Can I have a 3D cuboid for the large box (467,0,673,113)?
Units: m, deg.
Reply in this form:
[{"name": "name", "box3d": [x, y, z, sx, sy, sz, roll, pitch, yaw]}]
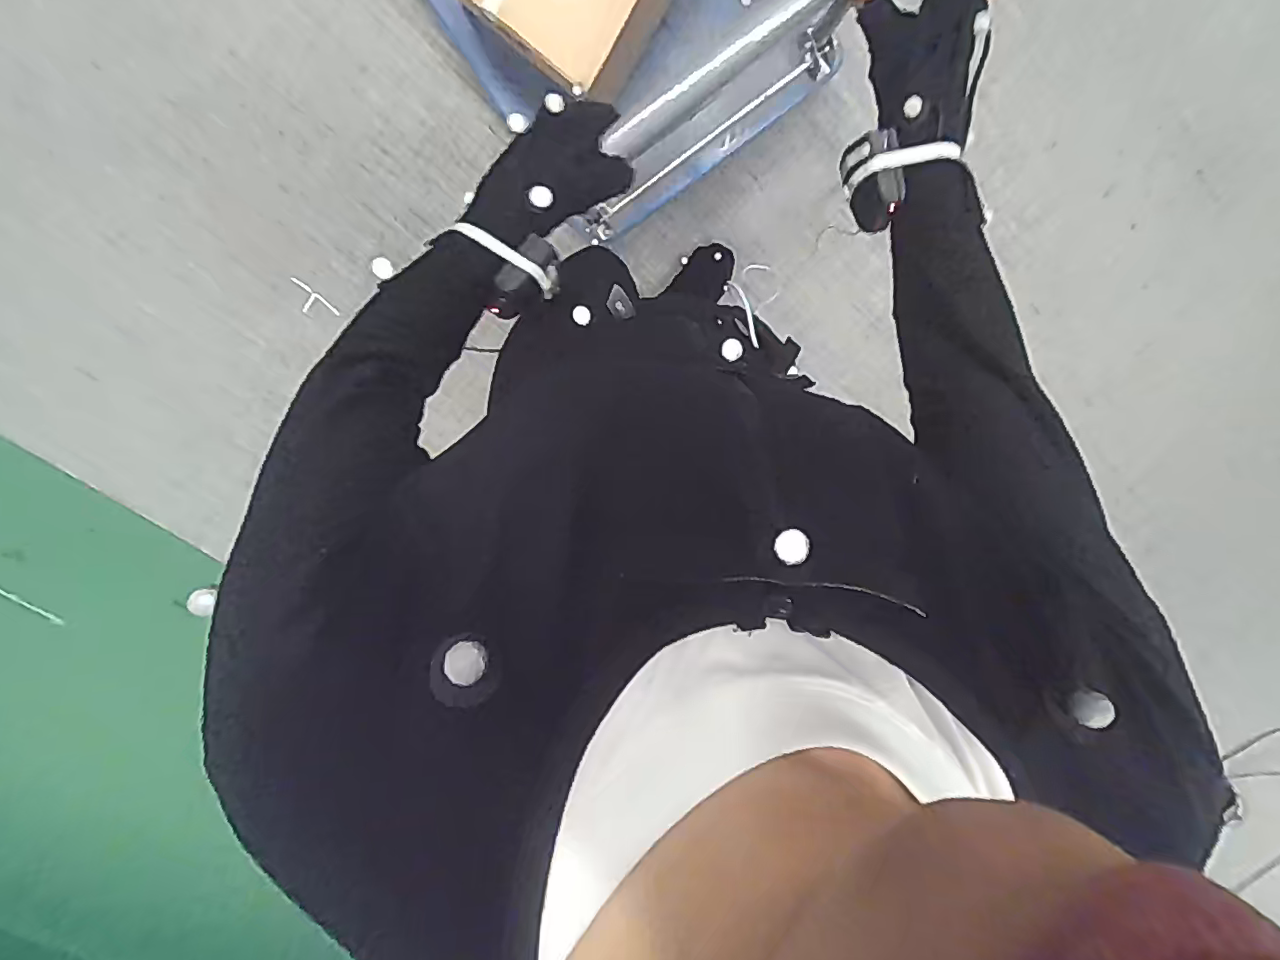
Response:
[{"name": "large box", "box3d": [-0.072, -0.842, 0.784, 0.320, 0.320, 0.408, 33, 115, -14]}]
